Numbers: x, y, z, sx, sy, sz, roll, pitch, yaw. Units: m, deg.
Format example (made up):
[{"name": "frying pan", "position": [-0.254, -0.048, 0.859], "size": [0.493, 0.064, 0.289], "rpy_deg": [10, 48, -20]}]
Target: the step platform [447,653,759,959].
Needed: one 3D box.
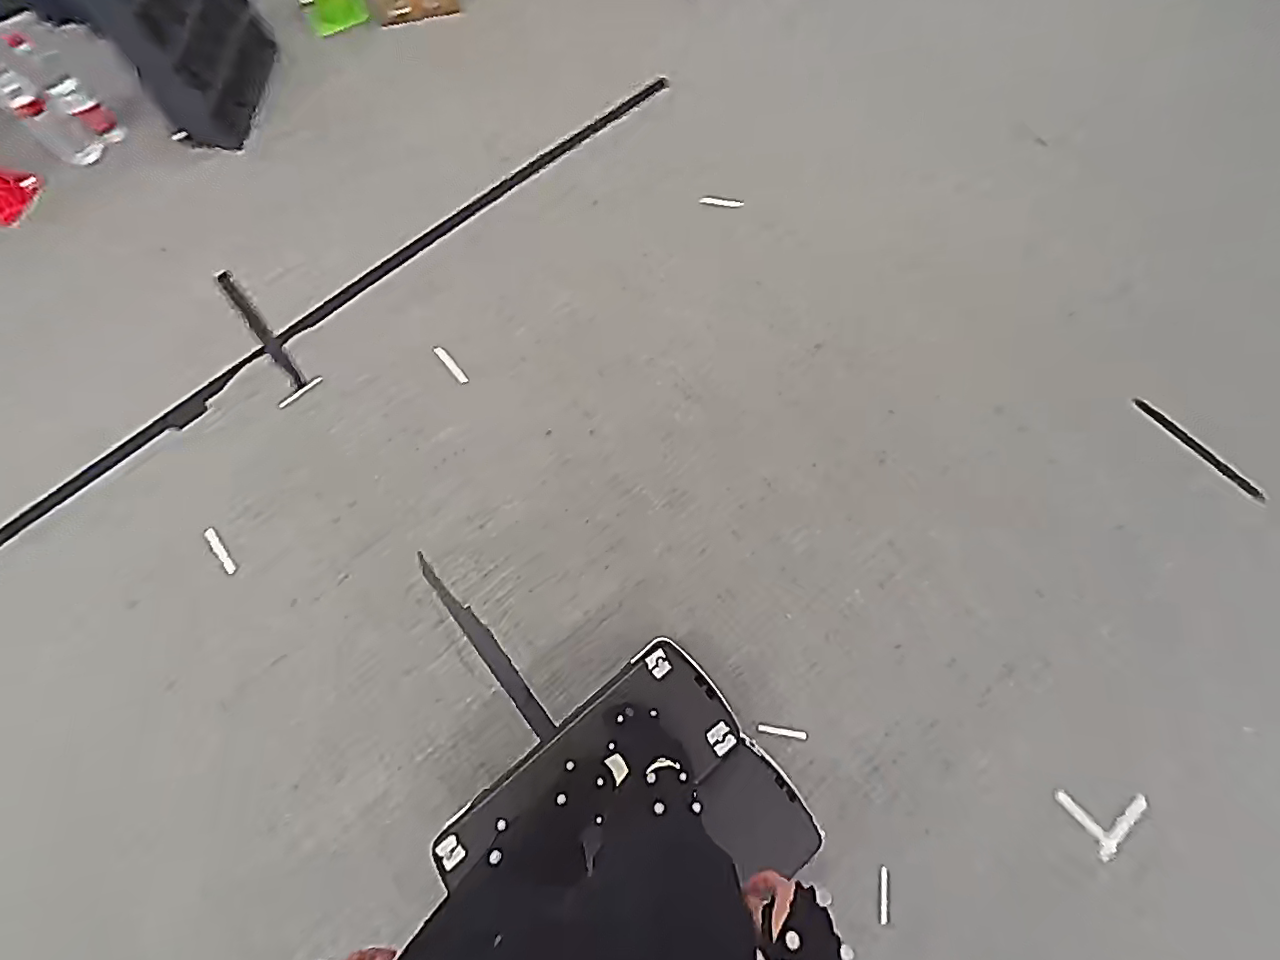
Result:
[{"name": "step platform", "position": [-0.070, 0.694, 1.201], "size": [0.684, 0.204, 0.286], "rpy_deg": [-35, 75, -11]}]
